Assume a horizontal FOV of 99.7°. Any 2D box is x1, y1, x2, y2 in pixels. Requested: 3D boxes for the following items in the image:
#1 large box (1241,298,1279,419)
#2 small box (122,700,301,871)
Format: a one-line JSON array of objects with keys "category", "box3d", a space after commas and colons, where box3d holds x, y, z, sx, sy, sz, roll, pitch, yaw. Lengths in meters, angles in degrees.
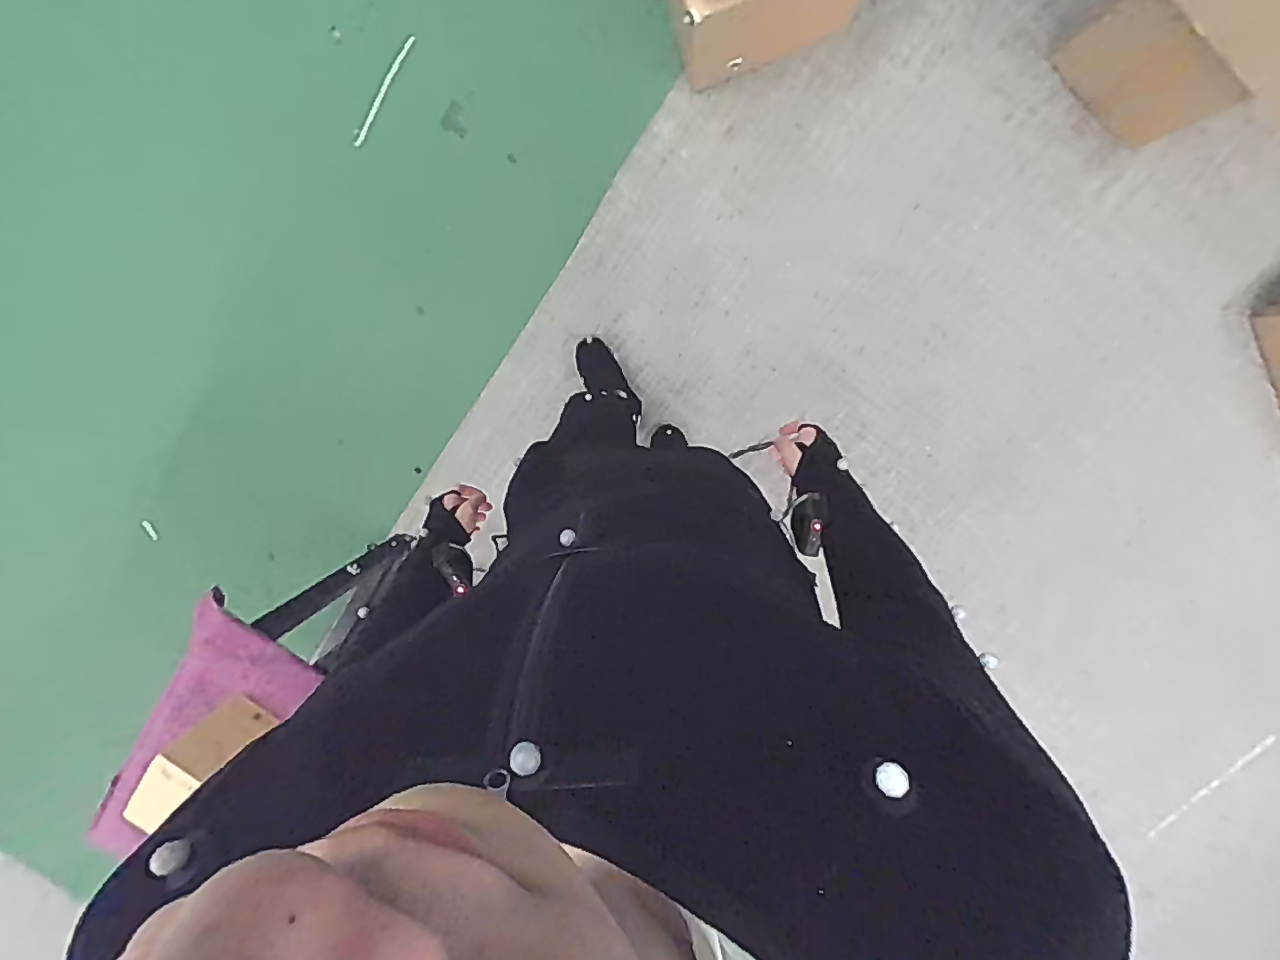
[{"category": "large box", "box3d": [1.758, -0.290, 1.246, 0.320, 0.320, 0.408, -29, 98, 10]}, {"category": "small box", "box3d": [-0.769, 0.549, 0.989, 0.168, 0.176, 0.179, 37, 106, -5]}]
